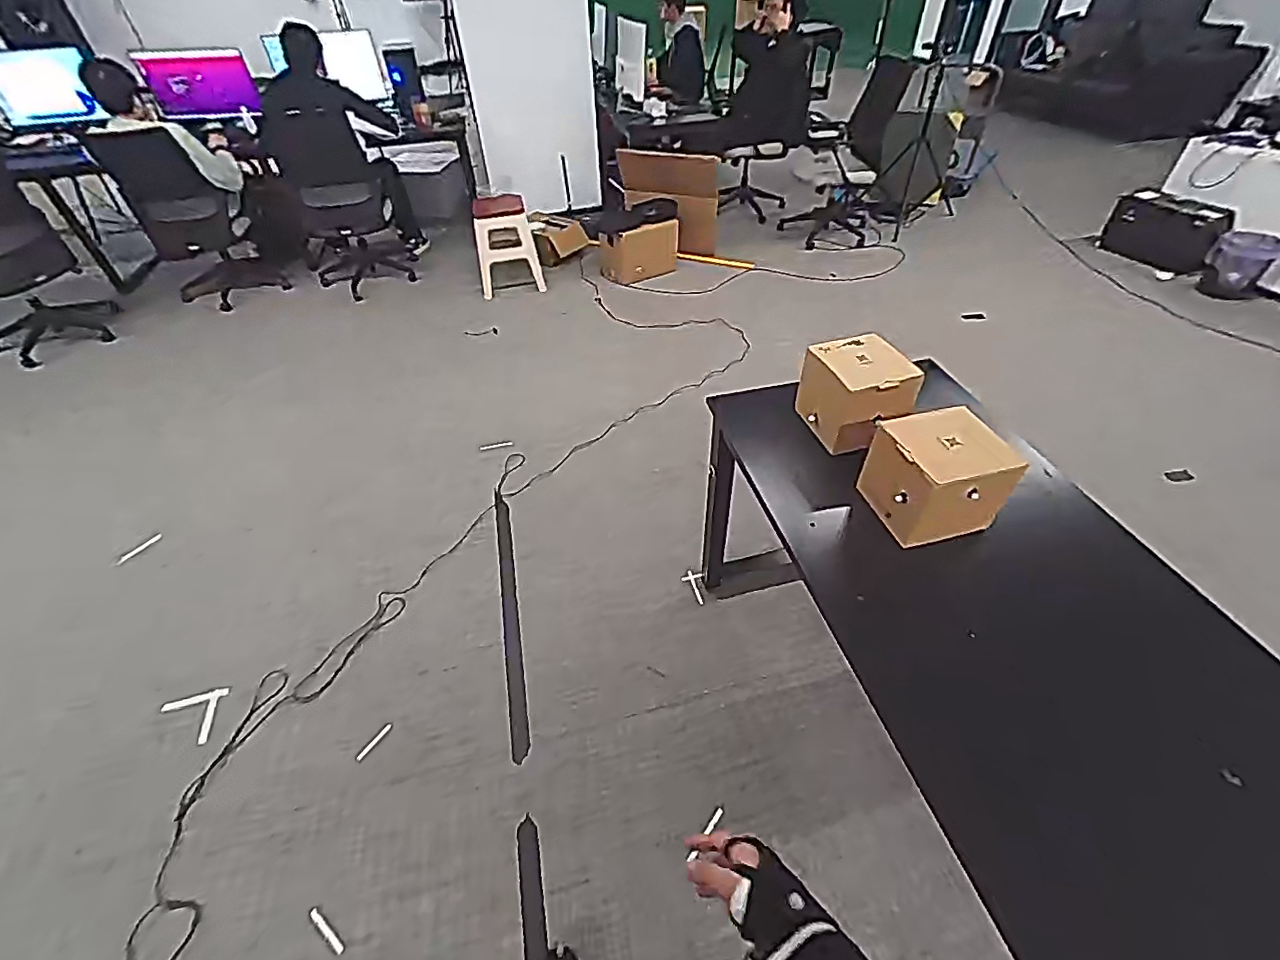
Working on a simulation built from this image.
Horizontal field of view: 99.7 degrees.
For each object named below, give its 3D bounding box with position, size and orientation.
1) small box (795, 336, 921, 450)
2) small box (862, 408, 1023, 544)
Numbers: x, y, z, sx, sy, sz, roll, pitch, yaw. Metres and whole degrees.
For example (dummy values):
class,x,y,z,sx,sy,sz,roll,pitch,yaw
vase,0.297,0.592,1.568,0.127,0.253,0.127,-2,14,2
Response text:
class,x,y,z,sx,sy,sz,roll,pitch,yaw
small box,0.456,-0.181,1.162,0.168,0.176,0.179,-12,46,-11
small box,0.529,-0.004,0.983,0.179,0.176,0.168,-11,46,-10
